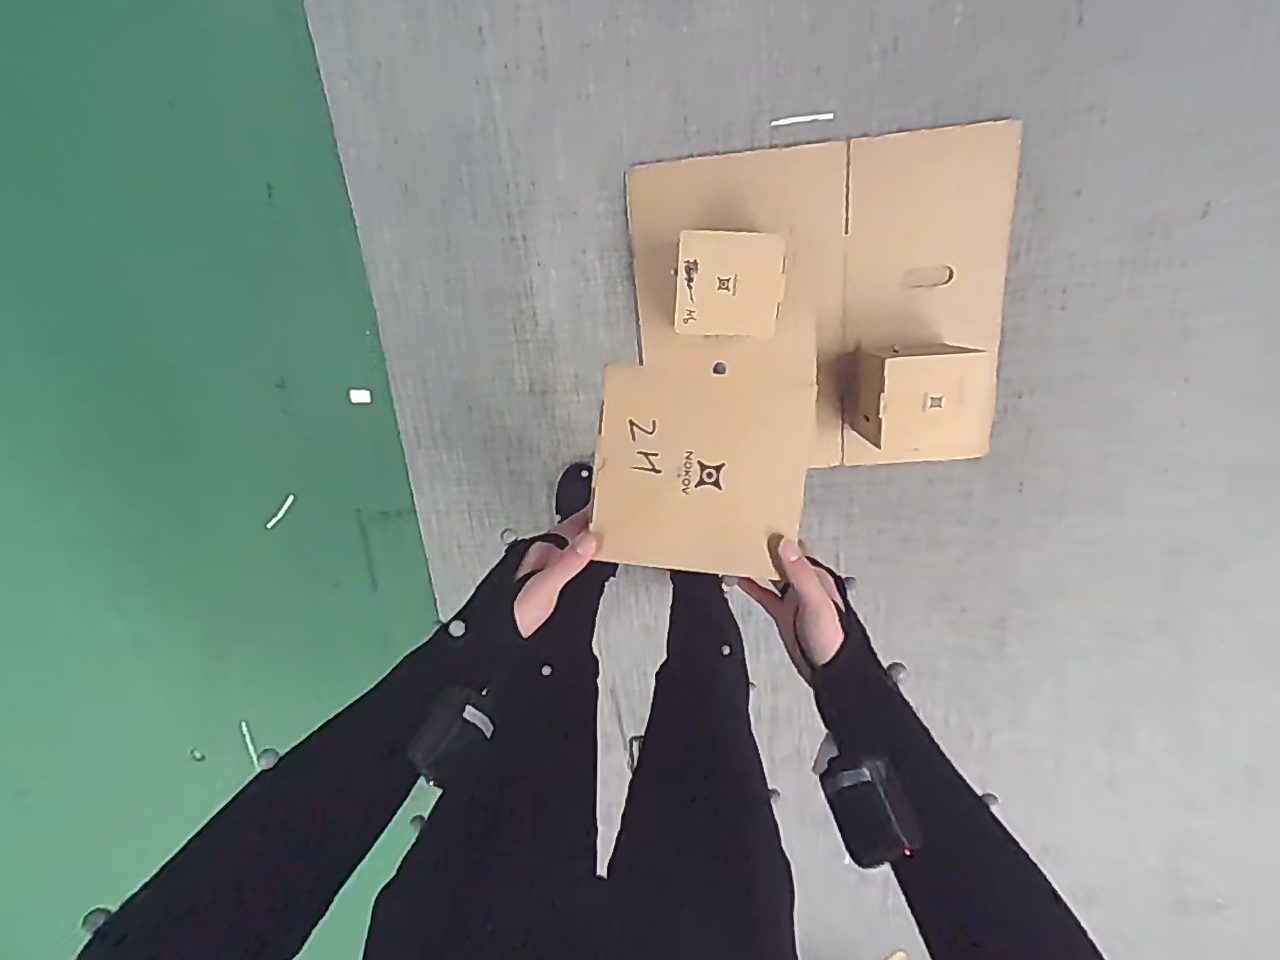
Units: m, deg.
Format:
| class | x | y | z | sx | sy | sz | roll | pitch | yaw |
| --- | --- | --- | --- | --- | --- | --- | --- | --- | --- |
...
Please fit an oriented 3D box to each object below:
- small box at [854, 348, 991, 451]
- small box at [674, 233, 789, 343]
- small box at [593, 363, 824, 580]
| class | x | y | z | sx | sy | sz | roll | pitch | yaw |
| --- | --- | --- | --- | --- | --- | --- | --- | --- | --- |
| small box | 0.512 | -0.155 | 1.009 | 0.179 | 0.176 | 0.168 | -2 | 108 | 6 |
| small box | 0.155 | -0.343 | 0.975 | 0.179 | 0.176 | 0.168 | 4 | 108 | 3 |
| small box | 0.057 | -0.011 | 0.528 | 0.179 | 0.176 | 0.168 | 7 | 93 | 1 |
